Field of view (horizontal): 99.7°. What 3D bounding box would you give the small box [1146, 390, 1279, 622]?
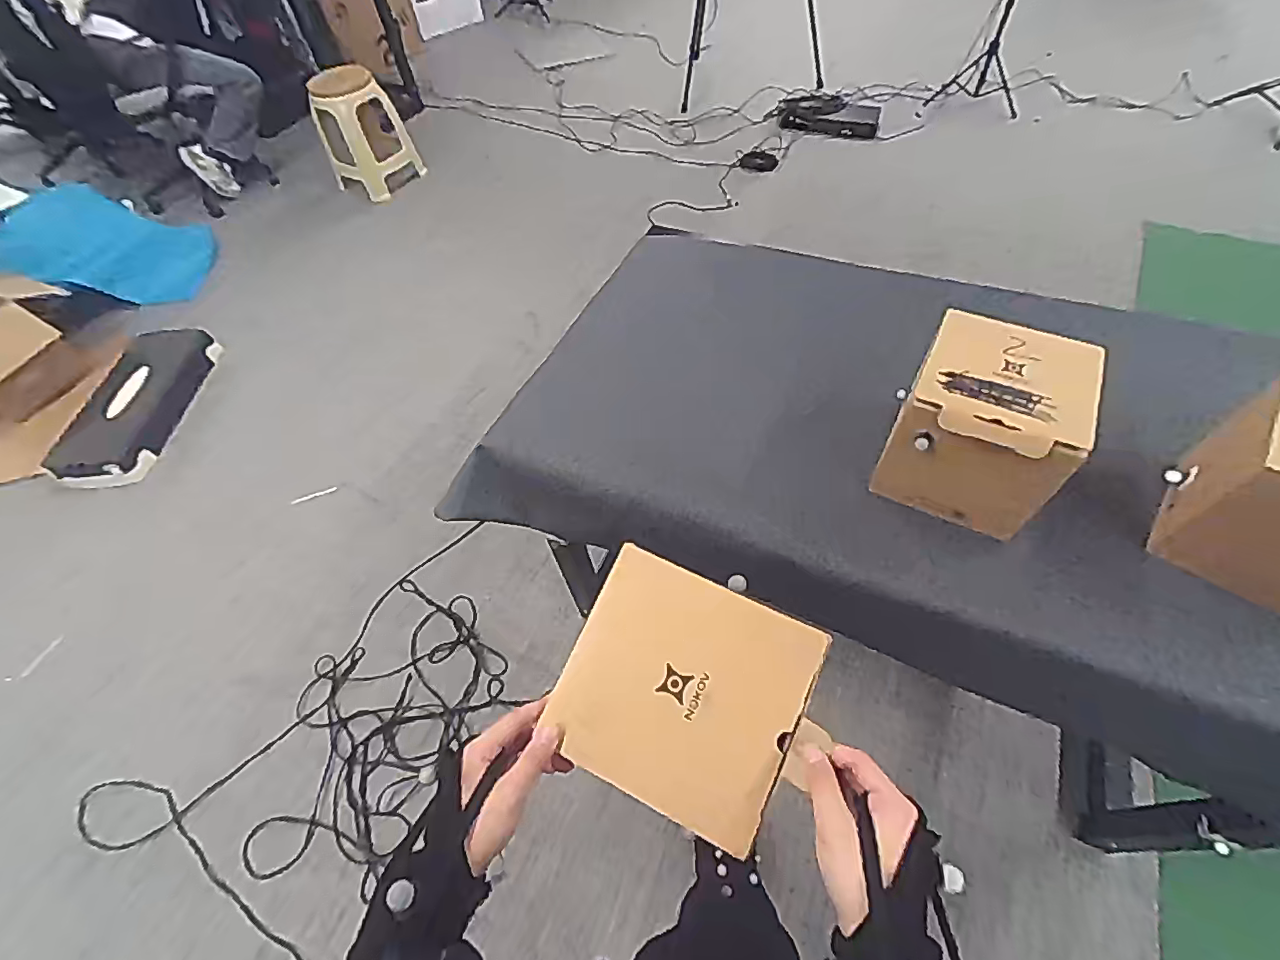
[{"bbox_3d":[0.696,0.035,0.559,0.179,0.176,0.168,32,62,25],"label":"small box"}]
